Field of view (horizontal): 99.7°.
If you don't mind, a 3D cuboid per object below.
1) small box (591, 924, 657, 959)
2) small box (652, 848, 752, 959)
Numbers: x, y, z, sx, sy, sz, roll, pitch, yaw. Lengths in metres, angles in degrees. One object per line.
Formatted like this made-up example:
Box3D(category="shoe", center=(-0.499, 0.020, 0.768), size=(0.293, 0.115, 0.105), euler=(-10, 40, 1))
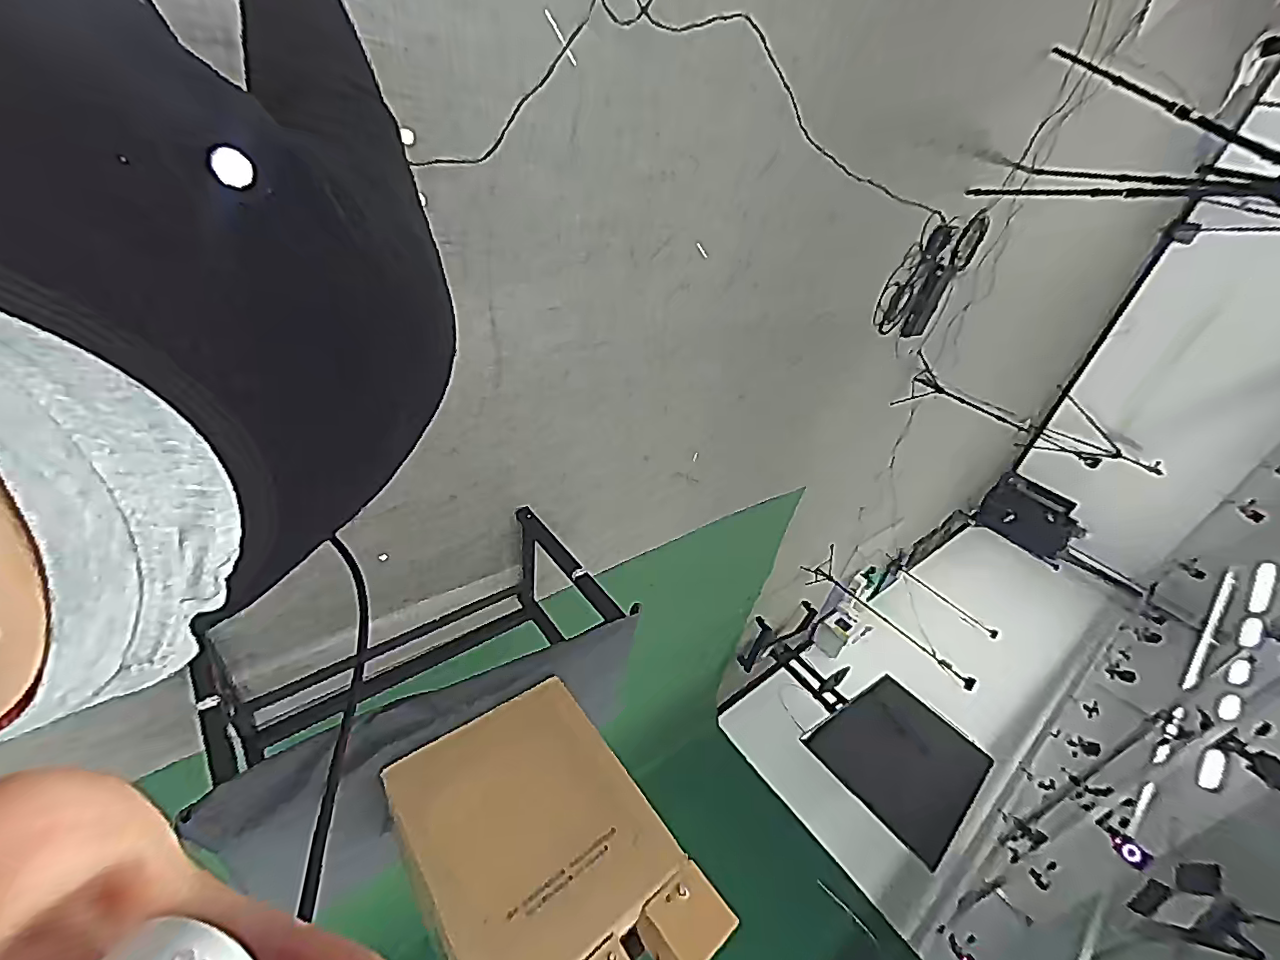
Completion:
Box3D(category="small box", center=(-0.038, 1.137, 1.192), size=(0.168, 0.176, 0.179), euler=(-22, 137, -34))
Box3D(category="small box", center=(0.146, 1.066, 1.341), size=(0.168, 0.176, 0.179), euler=(-25, 137, -36))
